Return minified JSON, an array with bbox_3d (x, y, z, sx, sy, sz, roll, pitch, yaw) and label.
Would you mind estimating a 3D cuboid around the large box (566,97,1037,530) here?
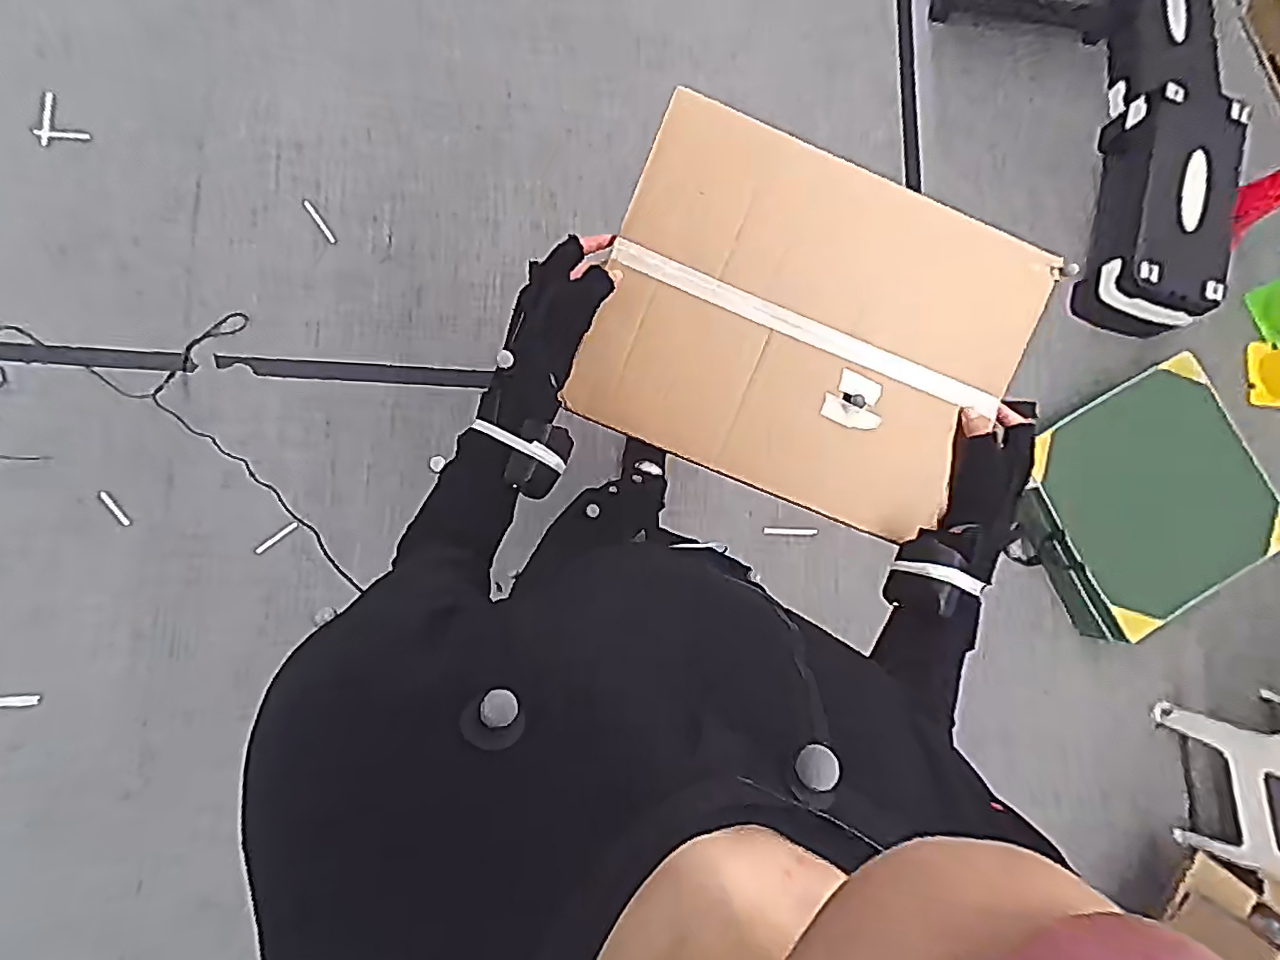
[{"bbox_3d":[0.154,-0.172,0.687,0.408,0.320,0.320,22,96,-5],"label":"large box"}]
